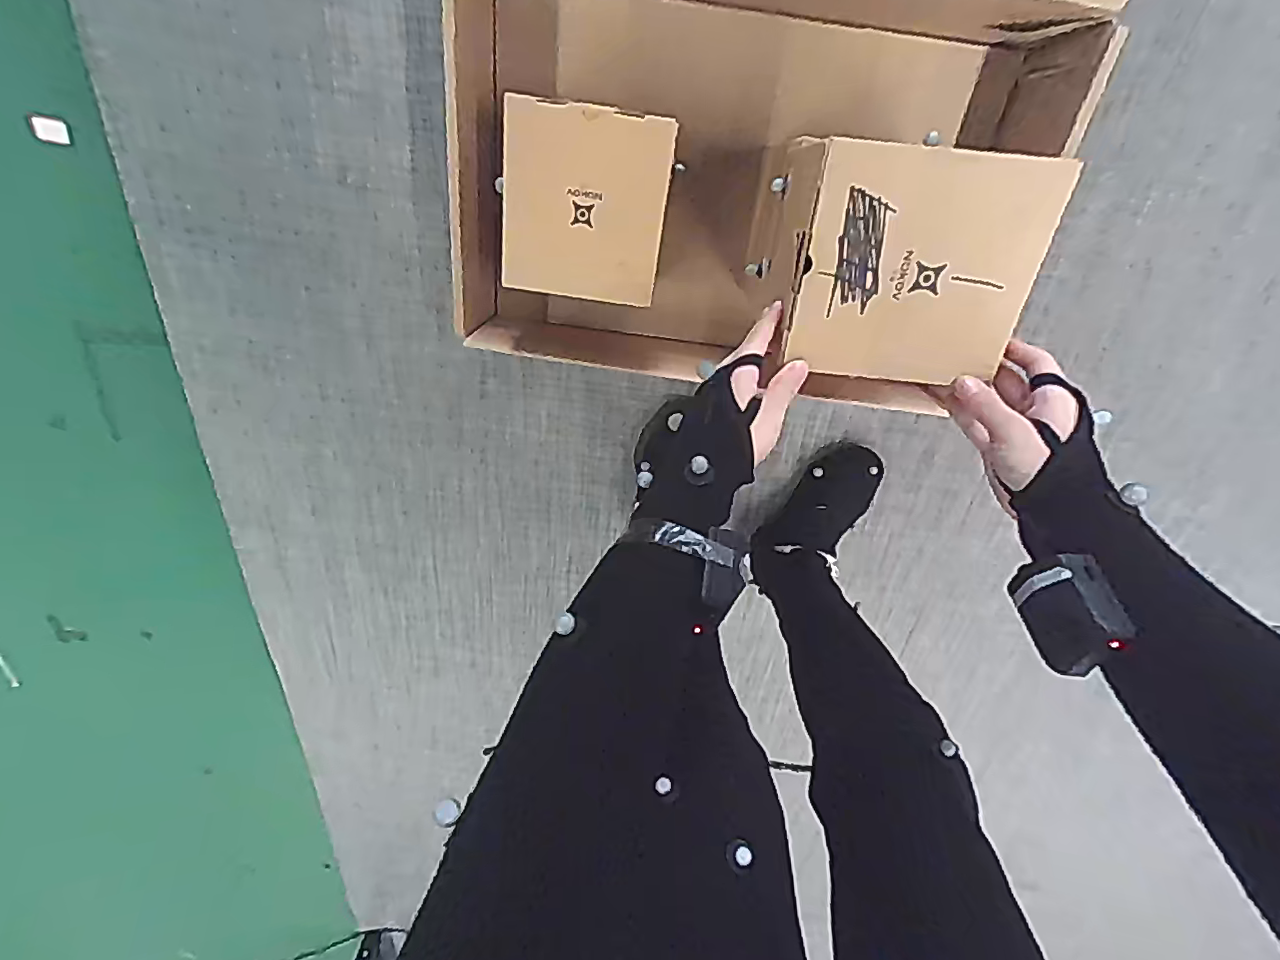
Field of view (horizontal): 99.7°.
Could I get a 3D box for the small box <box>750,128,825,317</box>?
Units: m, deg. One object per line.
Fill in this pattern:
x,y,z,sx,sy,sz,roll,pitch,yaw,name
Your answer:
0.228,-0.279,0.616,0.168,0.176,0.179,10,119,-1,small box

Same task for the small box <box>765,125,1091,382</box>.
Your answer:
0.216,-0.199,0.472,0.179,0.176,0.168,6,120,1,small box
